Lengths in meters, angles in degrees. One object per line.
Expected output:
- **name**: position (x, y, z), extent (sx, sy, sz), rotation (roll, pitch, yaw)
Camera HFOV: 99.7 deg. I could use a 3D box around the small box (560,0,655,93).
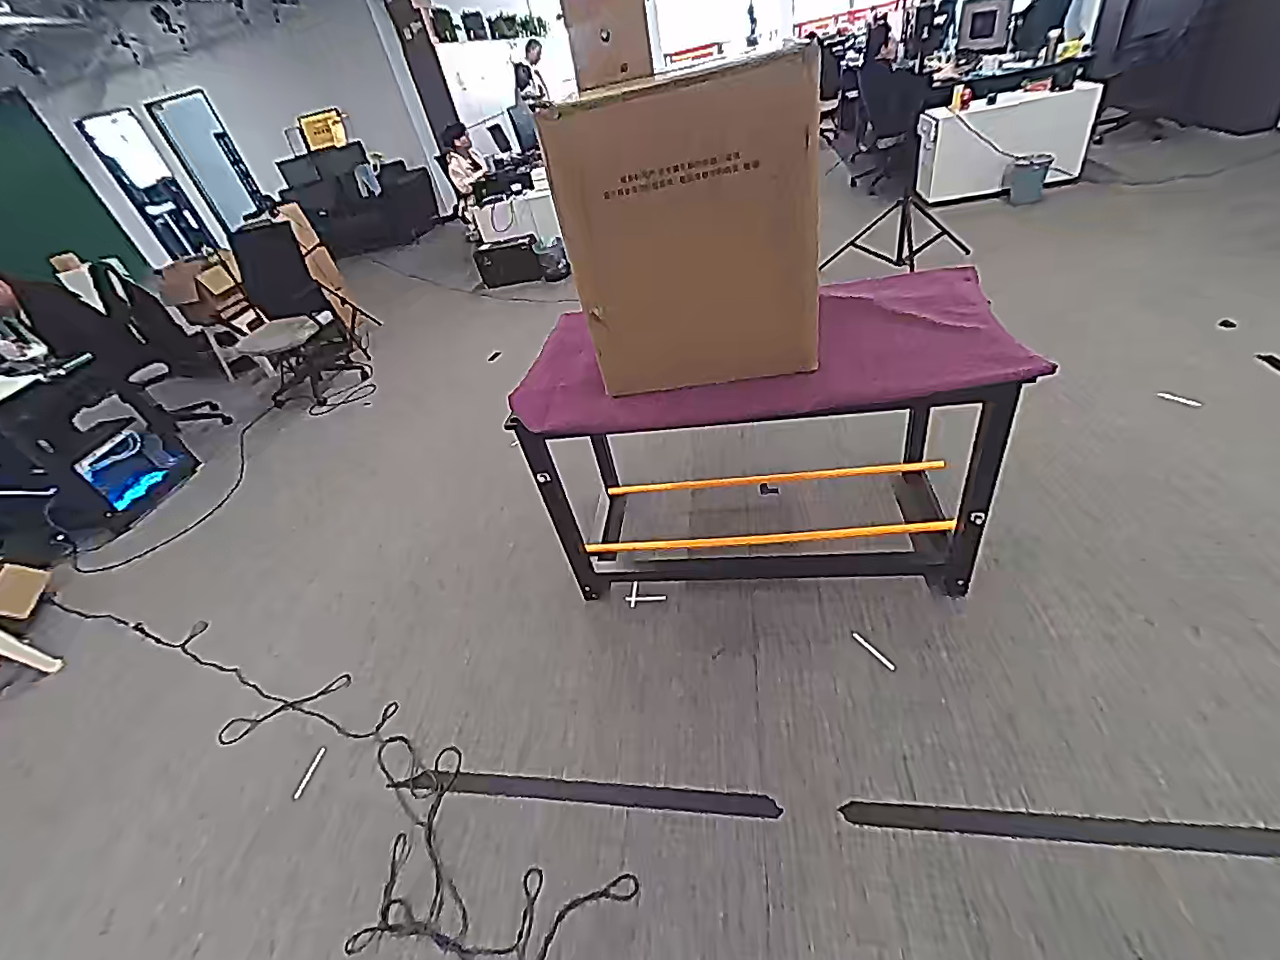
- **small box**: position (-0.063, -0.933, 1.139), extent (0.168, 0.176, 0.179), rotation (-8, 39, 5)
